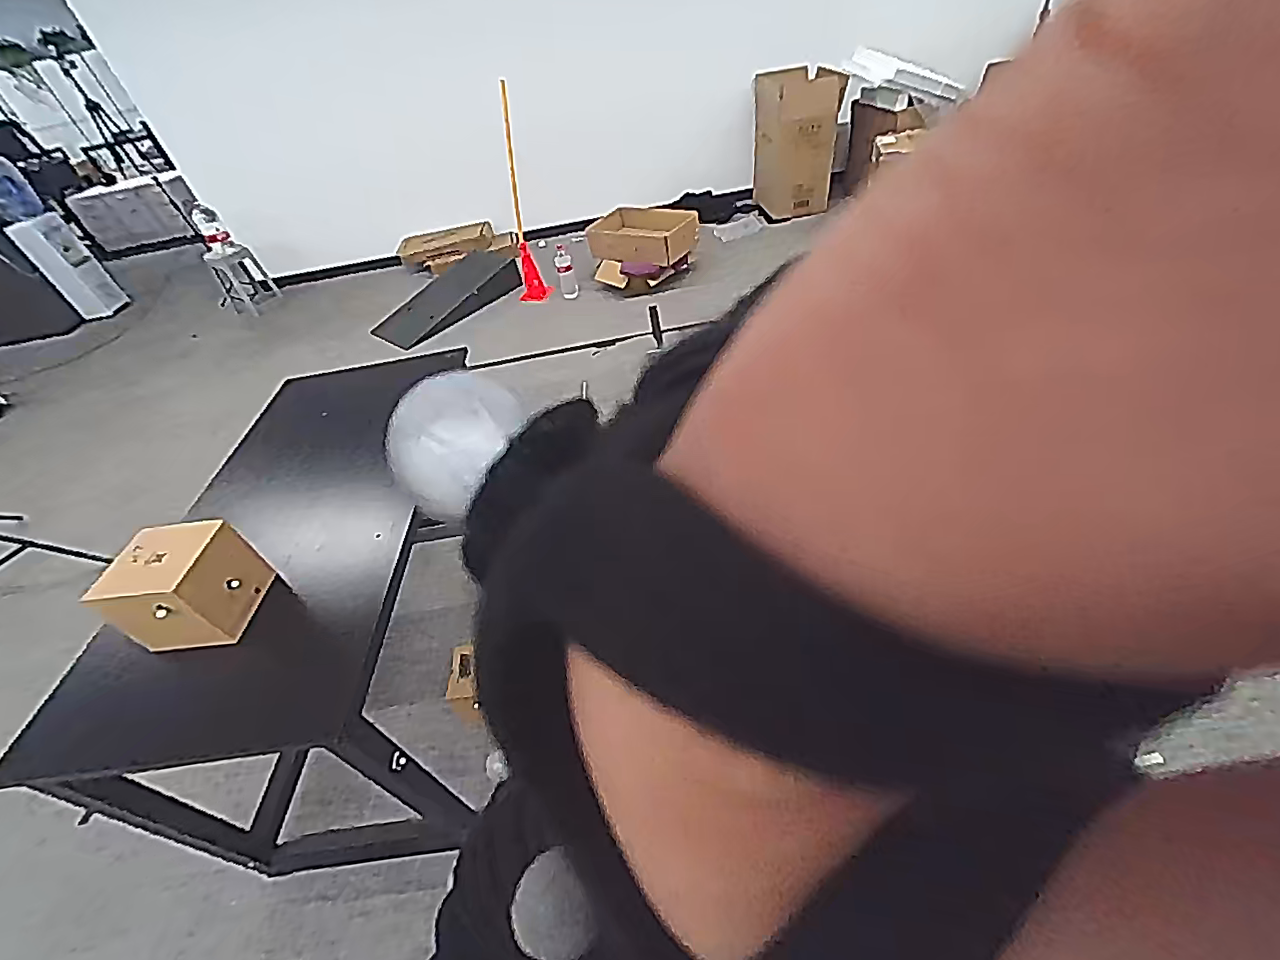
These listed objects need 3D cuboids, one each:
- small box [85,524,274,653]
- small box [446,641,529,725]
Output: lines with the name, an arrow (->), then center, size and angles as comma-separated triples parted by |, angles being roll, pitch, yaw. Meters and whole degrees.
small box -> -0.845, 0.207, 1.019 | 0.179, 0.176, 0.168 | -8, 42, 5
small box -> -0.439, 0.600, 1.585 | 0.179, 0.176, 0.168 | -9, 43, 2
